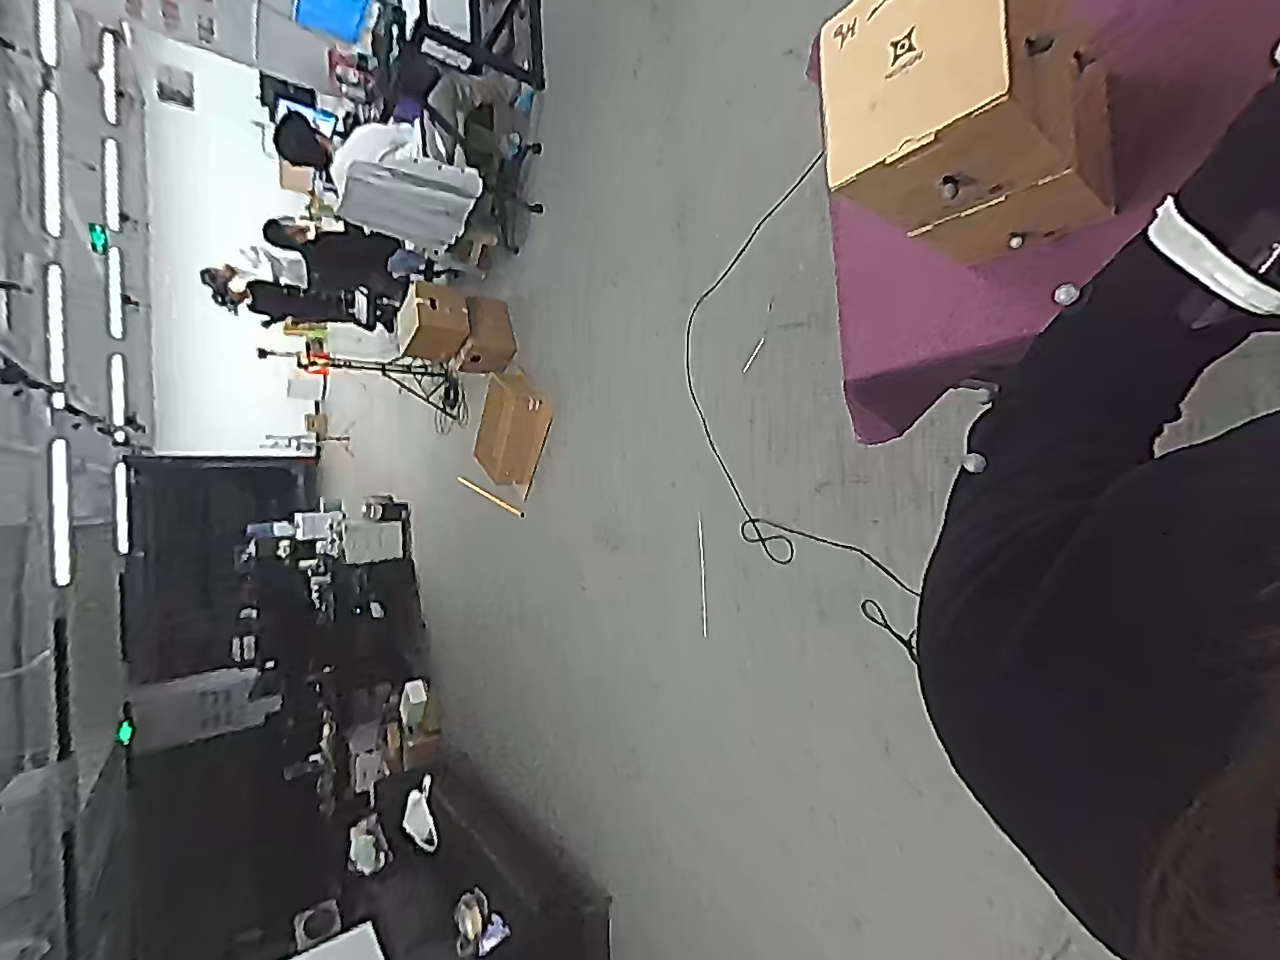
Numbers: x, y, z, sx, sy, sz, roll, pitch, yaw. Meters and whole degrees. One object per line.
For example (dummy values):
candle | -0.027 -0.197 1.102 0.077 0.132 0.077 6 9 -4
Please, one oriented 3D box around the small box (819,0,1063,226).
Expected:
small box | 0.306 -0.383 0.551 0.168 0.176 0.179 -5 87 51

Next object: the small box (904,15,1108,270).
small box | 0.436 -0.381 0.652 0.168 0.176 0.179 -5 86 52
